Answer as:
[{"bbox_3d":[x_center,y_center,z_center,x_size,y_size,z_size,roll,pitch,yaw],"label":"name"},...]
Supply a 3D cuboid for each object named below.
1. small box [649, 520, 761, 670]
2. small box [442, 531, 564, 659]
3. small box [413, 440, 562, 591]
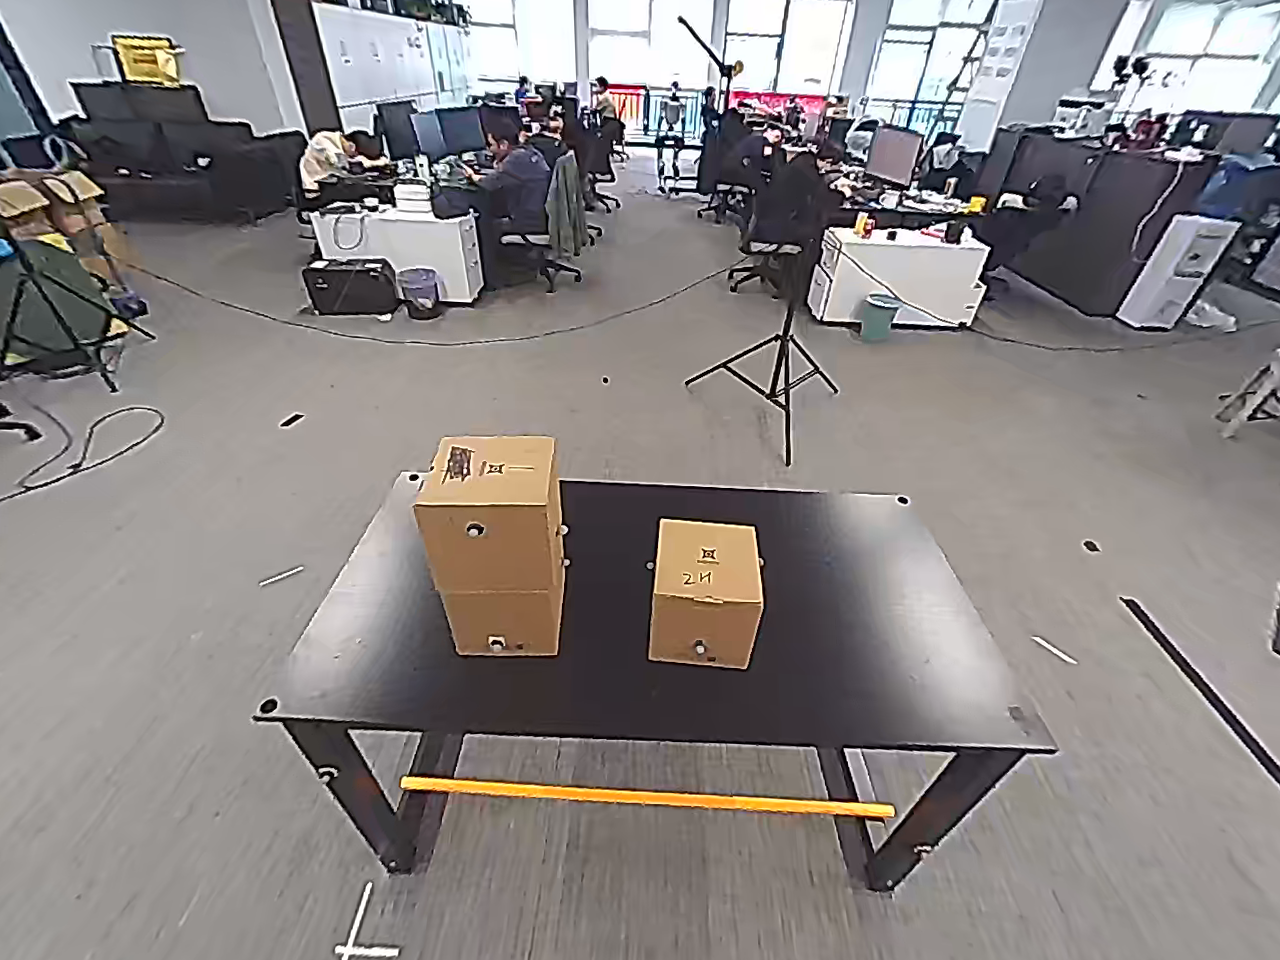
[{"bbox_3d":[0.105,0.193,0.922,0.168,0.176,0.179,5,37,3],"label":"small box"},{"bbox_3d":[-0.219,0.182,0.920,0.168,0.176,0.179,-1,39,-3],"label":"small box"},{"bbox_3d":[-0.216,0.054,0.816,0.179,0.176,0.168,0,38,-4],"label":"small box"}]
